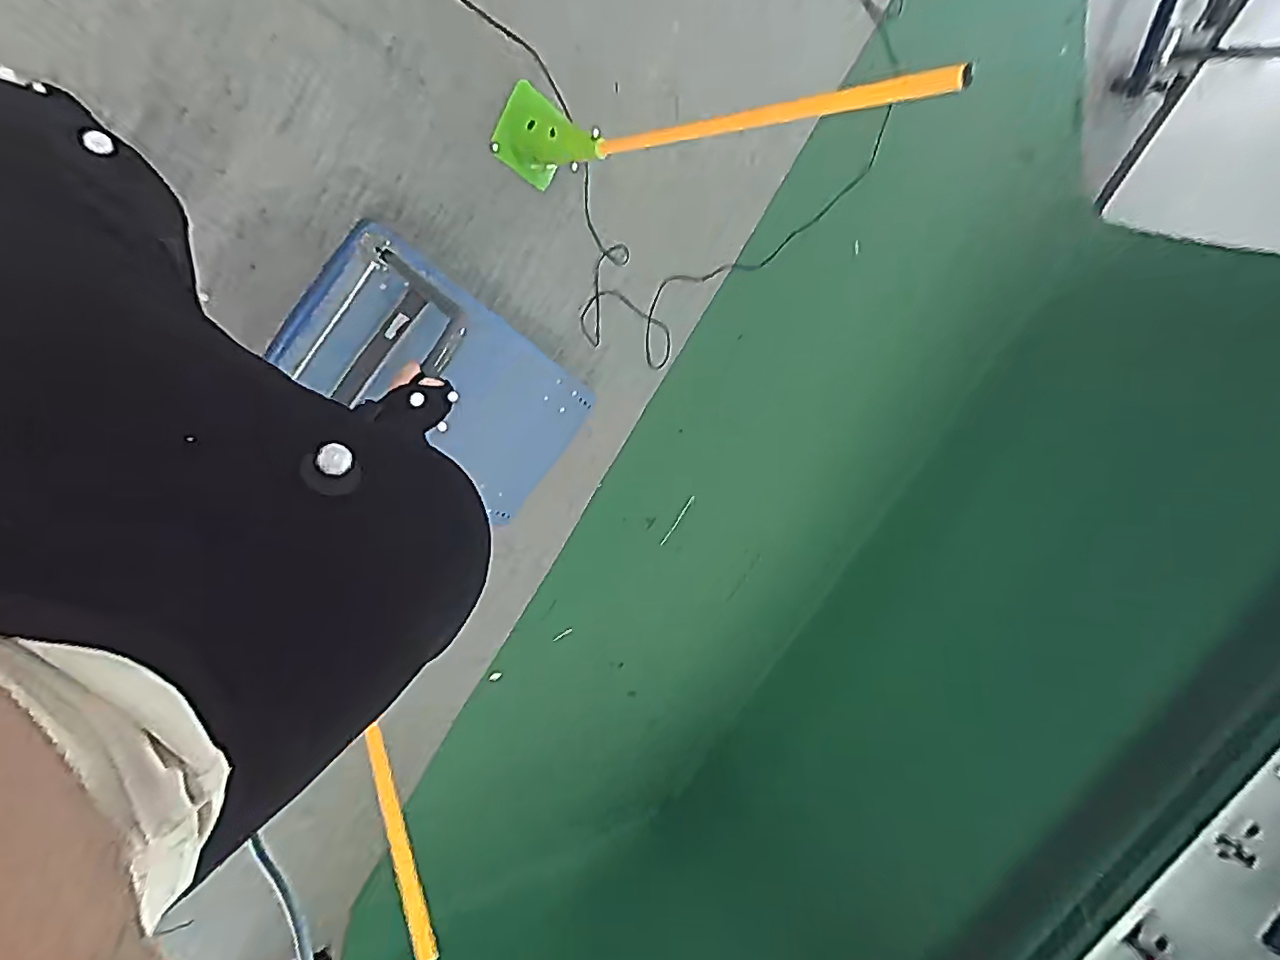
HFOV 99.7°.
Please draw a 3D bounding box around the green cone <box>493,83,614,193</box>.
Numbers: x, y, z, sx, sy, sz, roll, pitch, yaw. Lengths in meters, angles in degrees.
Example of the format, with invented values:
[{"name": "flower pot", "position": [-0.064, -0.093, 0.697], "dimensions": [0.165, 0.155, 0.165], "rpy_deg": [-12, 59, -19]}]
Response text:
[{"name": "green cone", "position": [-0.184, -0.851, 1.373], "dimensions": [0.200, 0.368, 0.202], "rpy_deg": [15, 107, -48]}]
